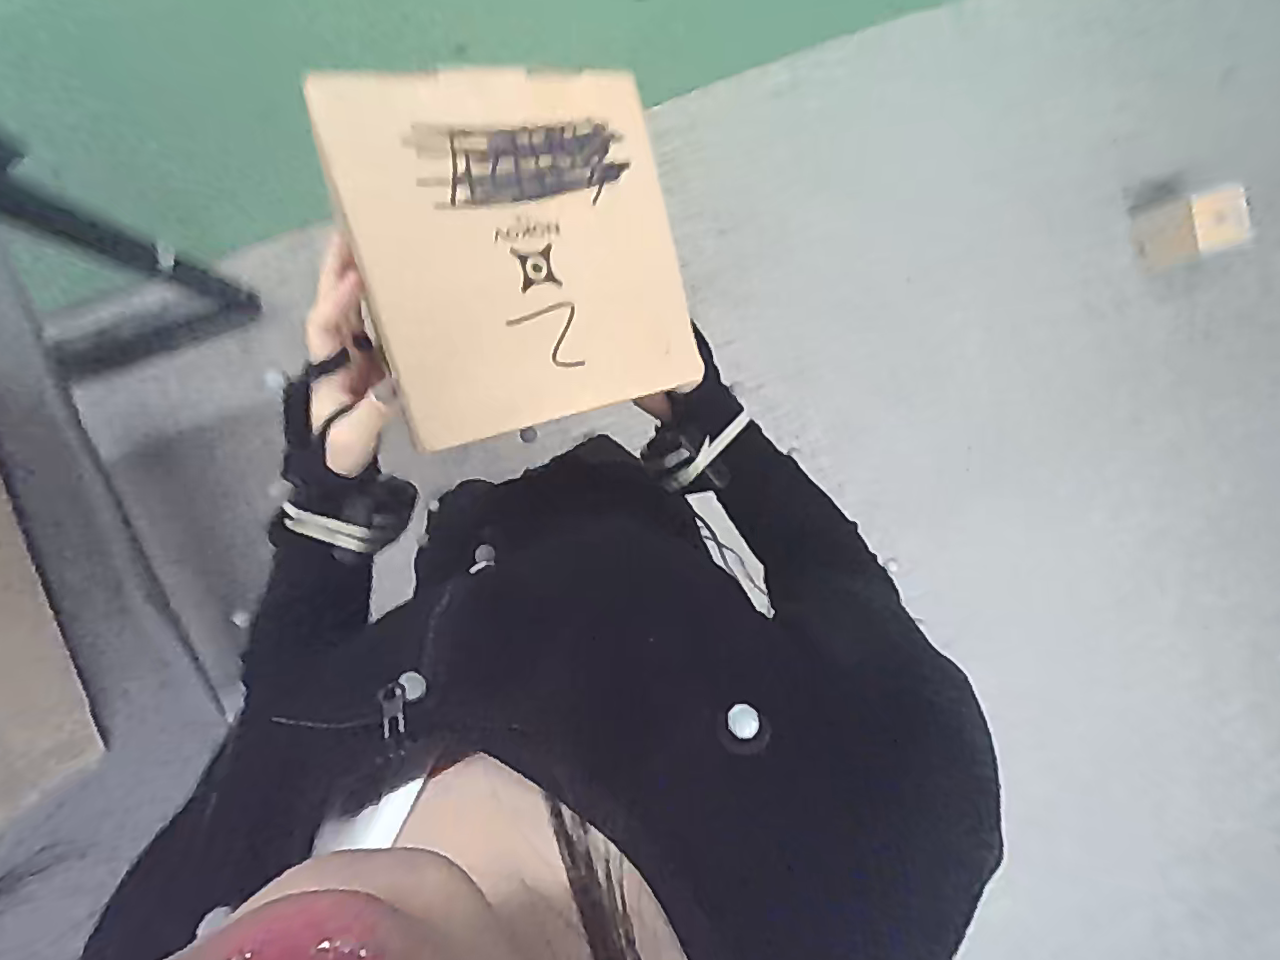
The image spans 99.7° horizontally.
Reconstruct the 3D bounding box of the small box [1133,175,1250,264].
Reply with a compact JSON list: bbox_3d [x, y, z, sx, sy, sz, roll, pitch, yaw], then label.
[{"bbox_3d":[1.589,-0.747,1.571,0.179,0.176,0.168,-17,96,-5],"label":"small box"}]
